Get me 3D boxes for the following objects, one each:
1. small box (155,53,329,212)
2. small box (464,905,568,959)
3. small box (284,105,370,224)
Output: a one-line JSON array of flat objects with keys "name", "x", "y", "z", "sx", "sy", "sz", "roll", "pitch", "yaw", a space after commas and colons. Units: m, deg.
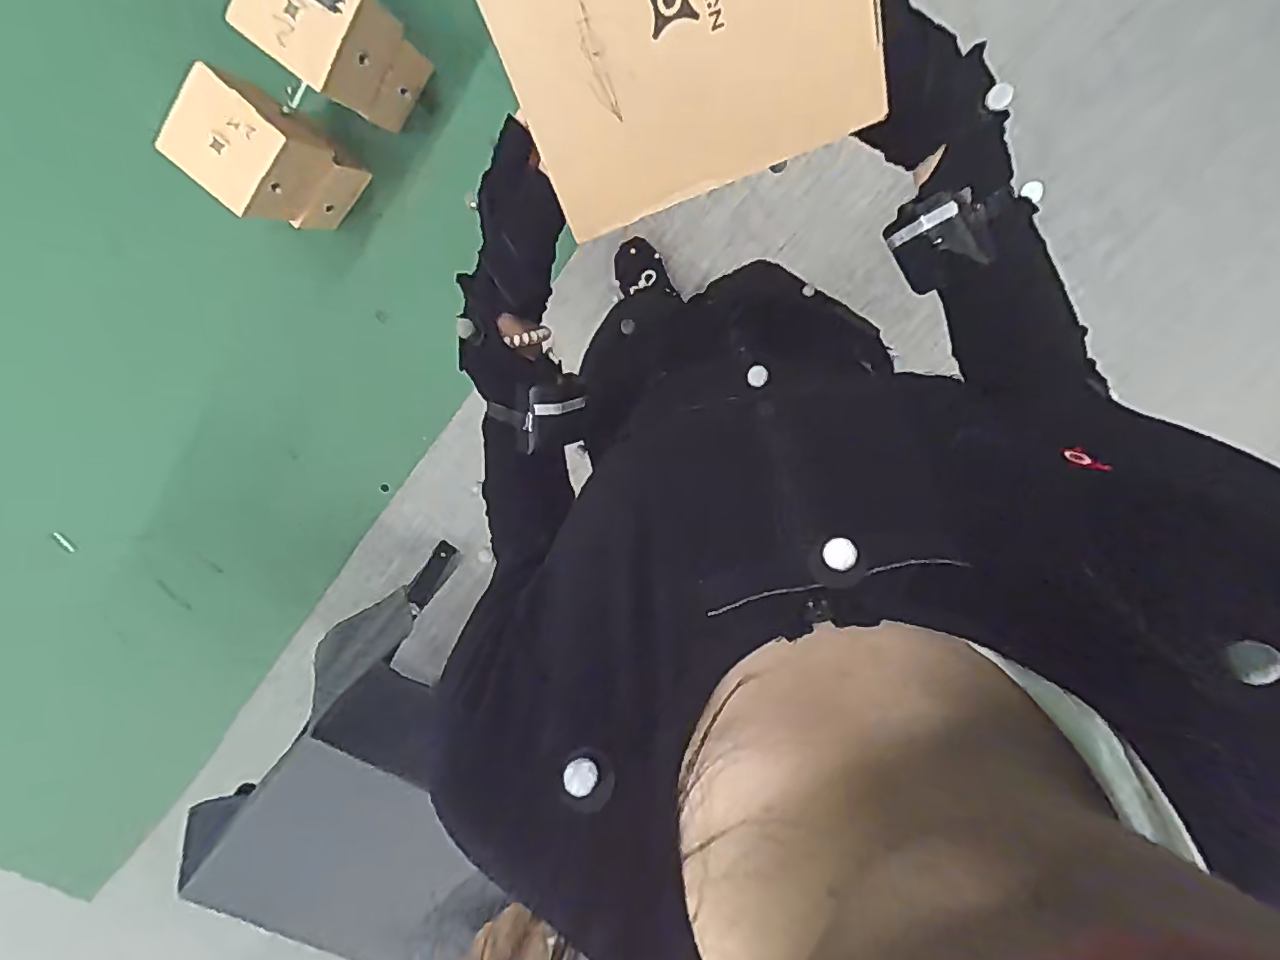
[{"name": "small box", "x": -0.727, "y": -0.629, "z": 1.010, "sx": 0.168, "sy": 0.176, "sz": 0.179, "roll": 42, "pitch": 107, "yaw": -16}, {"name": "small box", "x": -0.265, "y": 1.032, "z": 1.112, "sx": 0.168, "sy": 0.176, "sz": 0.179, "roll": 38, "pitch": 107, "yaw": -16}, {"name": "small box", "x": -0.727, "y": -0.681, "z": 1.167, "sx": 0.168, "sy": 0.176, "sz": 0.179, "roll": -42, "pitch": 107, "yaw": 16}]
